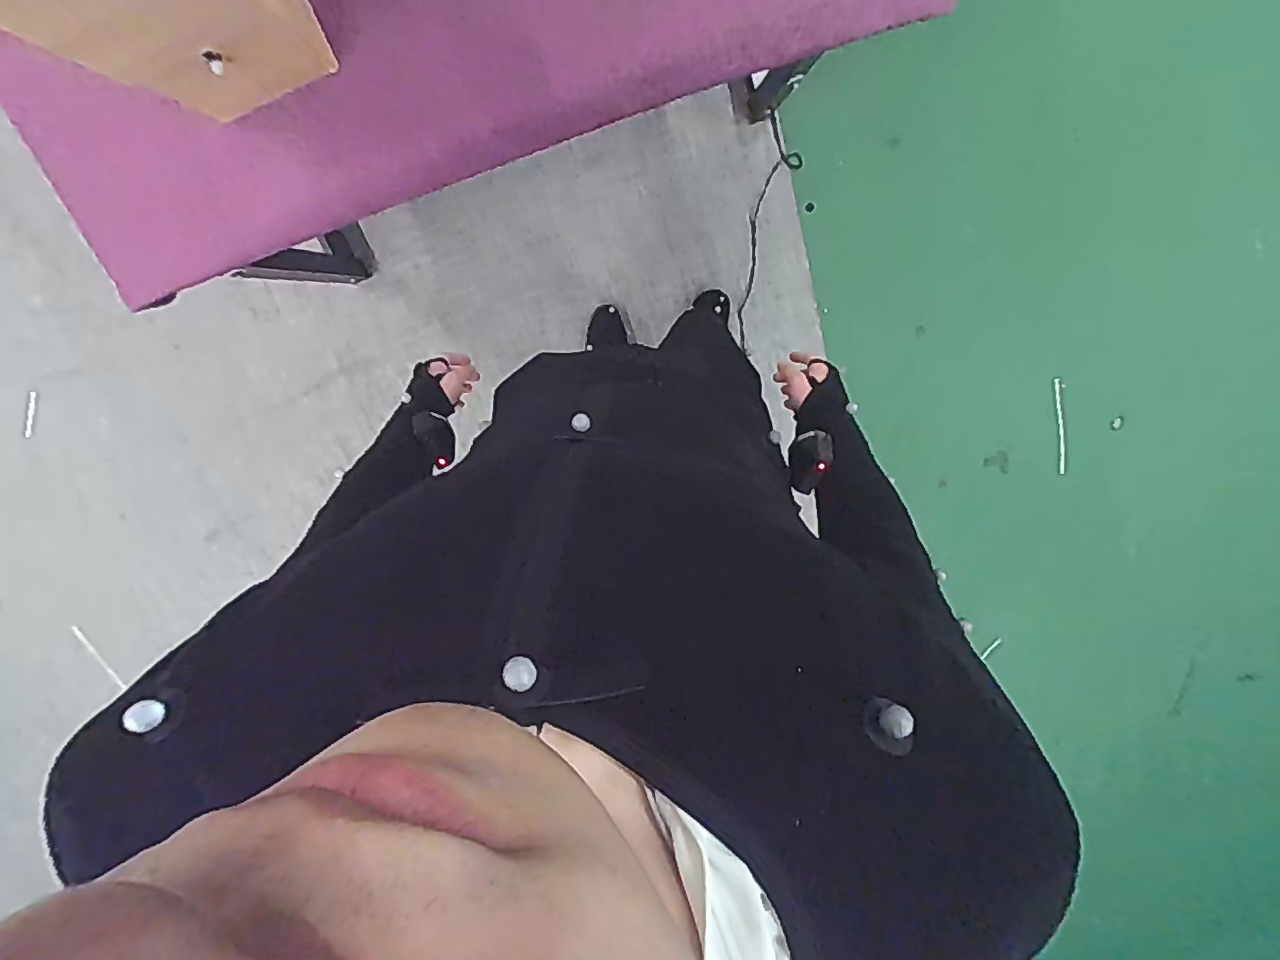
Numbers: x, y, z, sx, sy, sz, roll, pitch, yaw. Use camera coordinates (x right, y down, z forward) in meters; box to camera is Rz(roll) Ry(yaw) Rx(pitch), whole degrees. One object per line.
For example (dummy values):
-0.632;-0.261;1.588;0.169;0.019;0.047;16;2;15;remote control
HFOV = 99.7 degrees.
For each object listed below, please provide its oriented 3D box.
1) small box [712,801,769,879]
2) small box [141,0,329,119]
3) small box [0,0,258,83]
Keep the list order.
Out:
0.371;1.343;2.025;0.179;0.176;0.168;-10;109;1;small box
-0.493;-0.551;0.615;0.179;0.176;0.168;-21;108;4;small box
-0.476;-0.487;0.463;0.179;0.176;0.168;-20;108;4;small box
